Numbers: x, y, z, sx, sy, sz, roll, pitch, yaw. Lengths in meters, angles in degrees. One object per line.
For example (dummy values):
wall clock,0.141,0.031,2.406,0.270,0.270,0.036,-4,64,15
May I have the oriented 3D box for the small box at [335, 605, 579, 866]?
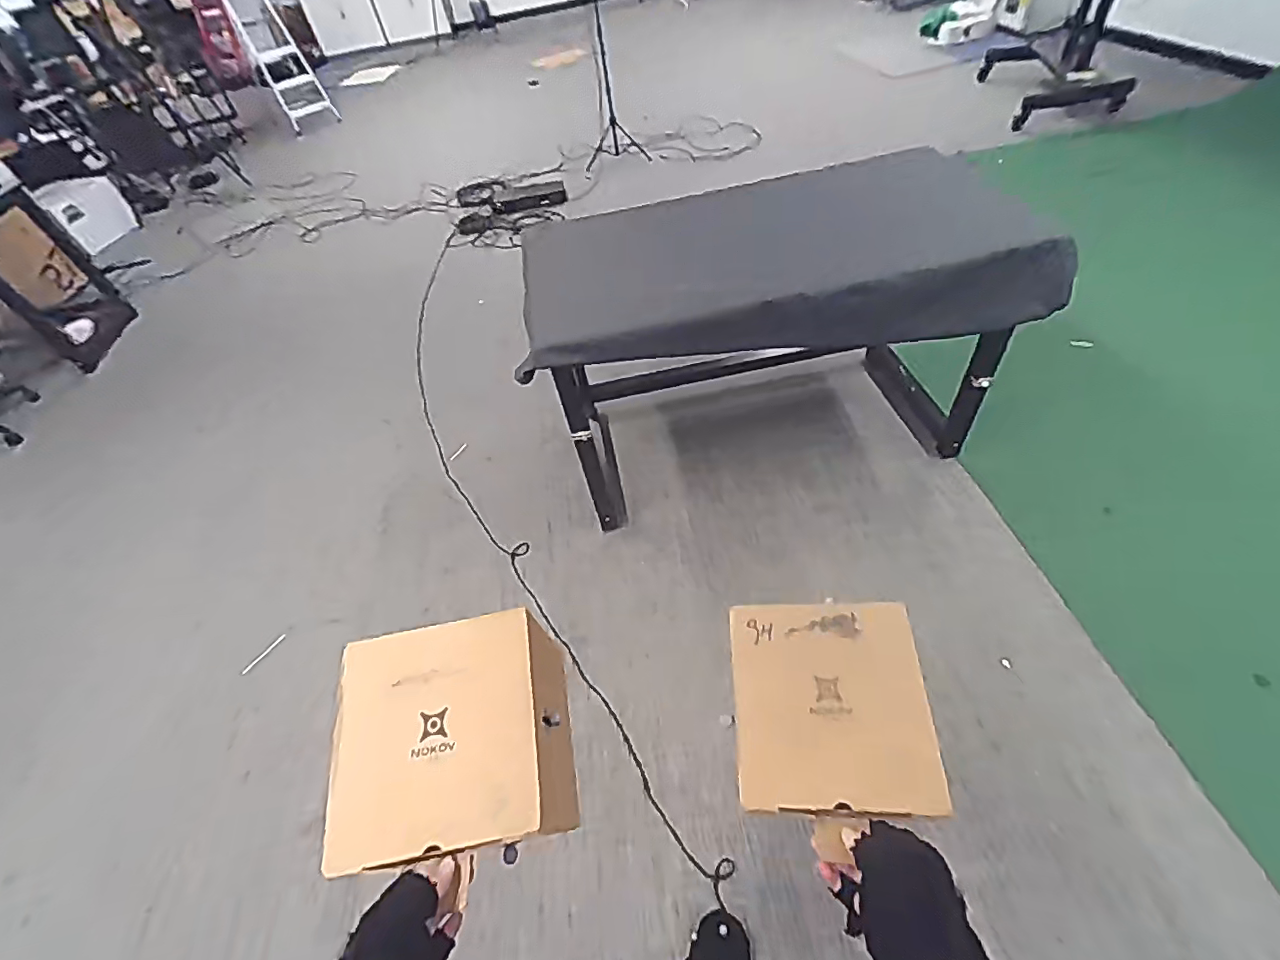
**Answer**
small box,-0.160,0.242,0.520,0.168,0.176,0.179,-12,59,-2
